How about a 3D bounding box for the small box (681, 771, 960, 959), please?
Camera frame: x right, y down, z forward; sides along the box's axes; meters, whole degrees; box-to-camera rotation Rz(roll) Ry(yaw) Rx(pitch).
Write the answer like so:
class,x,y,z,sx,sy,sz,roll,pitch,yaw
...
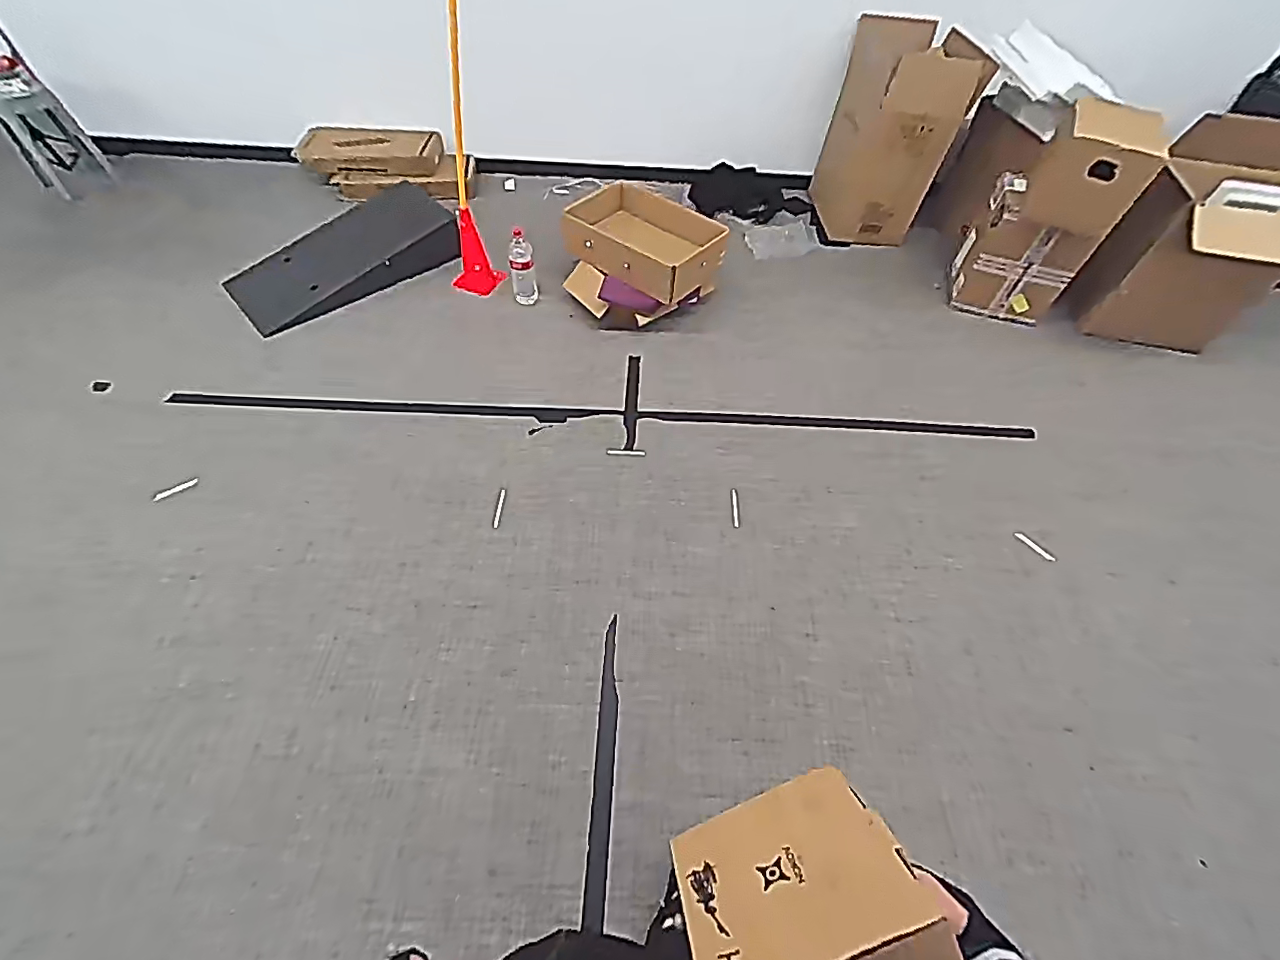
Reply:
class,x,y,z,sx,sy,sz,roll,pitch,yaw
small box,0.154,0.399,0.457,0.179,0.168,0.176,-22,96,-4
